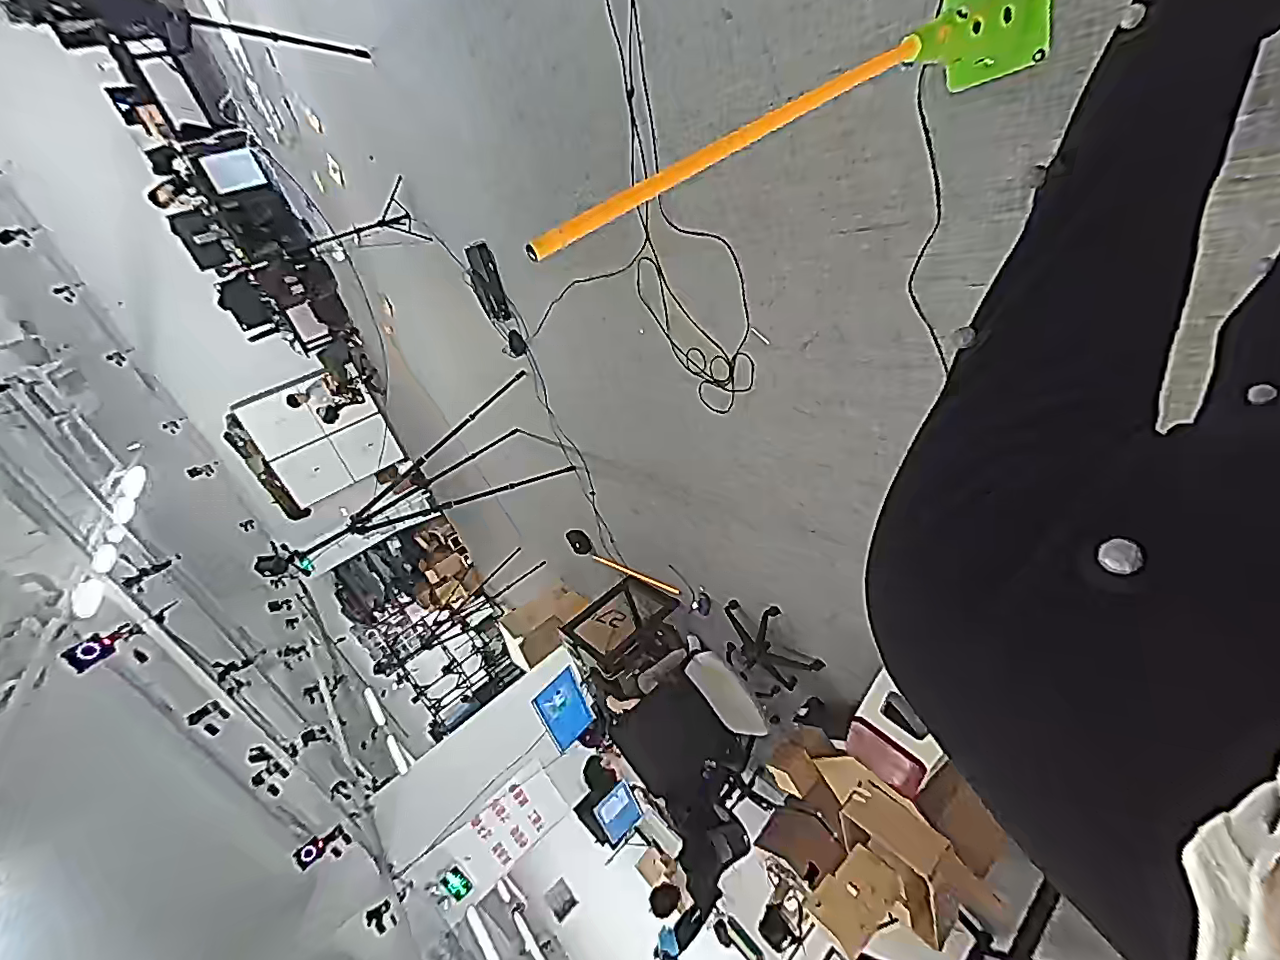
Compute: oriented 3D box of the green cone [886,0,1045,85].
[{"bbox_3d":[0.602,-0.886,1.058,0.202,0.368,0.200,18,135,52],"label":"green cone"}]
